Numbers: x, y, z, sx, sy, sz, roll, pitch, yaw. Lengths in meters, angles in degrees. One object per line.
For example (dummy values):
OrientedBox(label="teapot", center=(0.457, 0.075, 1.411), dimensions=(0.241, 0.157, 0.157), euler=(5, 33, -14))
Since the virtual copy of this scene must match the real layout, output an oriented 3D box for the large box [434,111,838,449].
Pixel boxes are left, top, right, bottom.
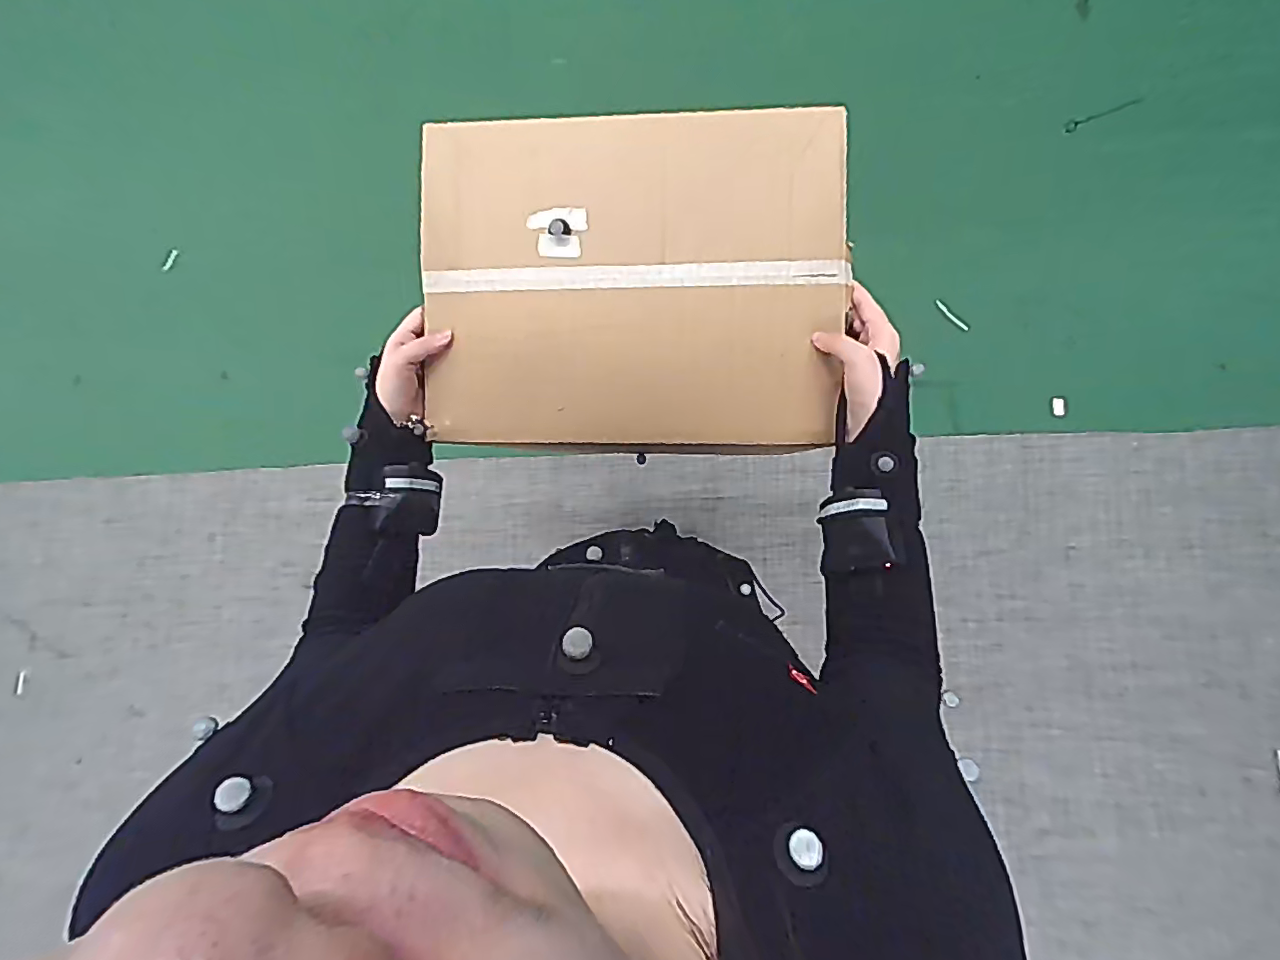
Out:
OrientedBox(label="large box", center=(0.007, -0.196, 0.678), dimensions=(0.408, 0.320, 0.320), euler=(0, 91, 6))
